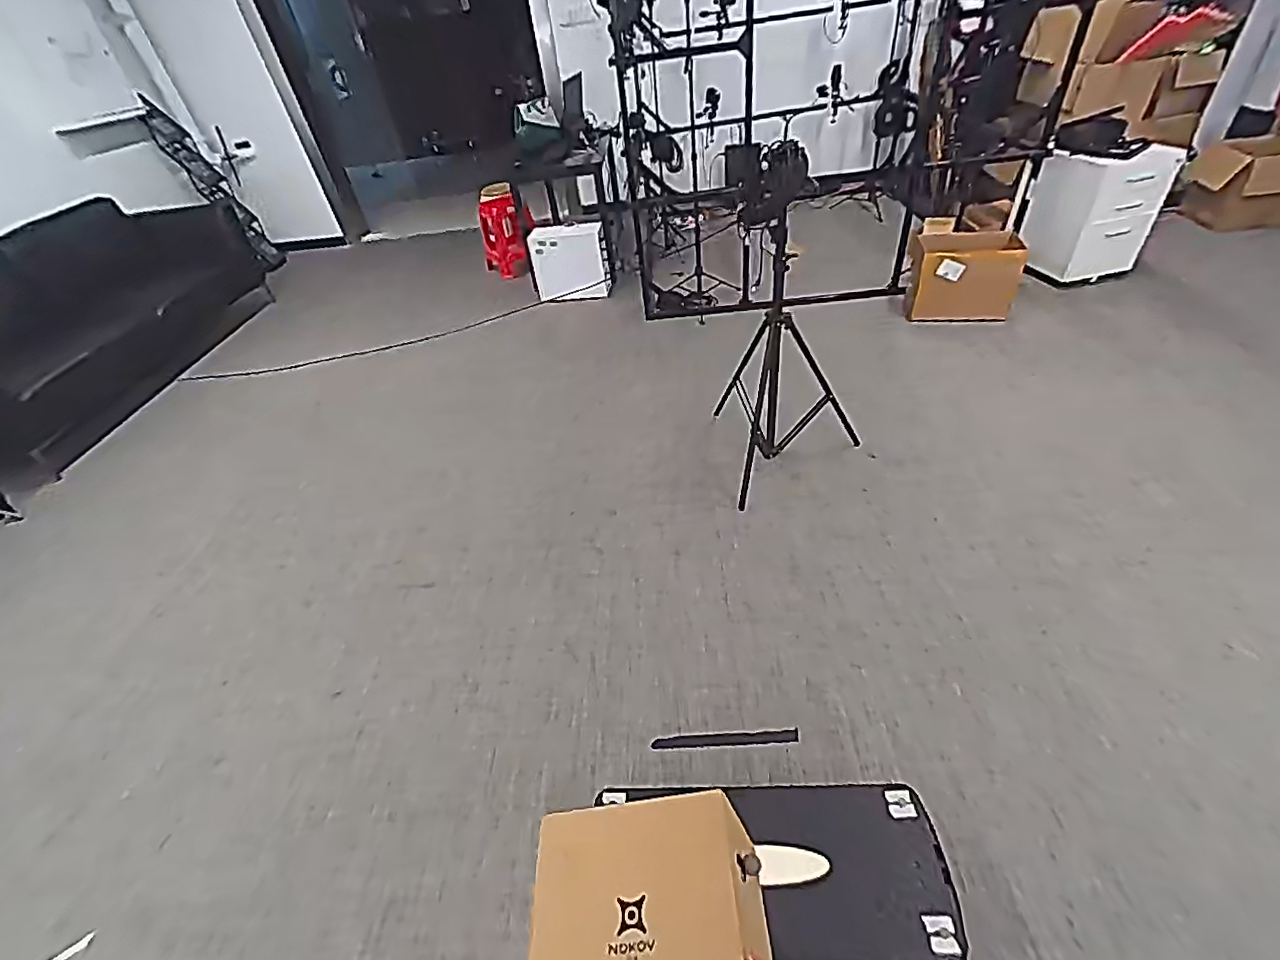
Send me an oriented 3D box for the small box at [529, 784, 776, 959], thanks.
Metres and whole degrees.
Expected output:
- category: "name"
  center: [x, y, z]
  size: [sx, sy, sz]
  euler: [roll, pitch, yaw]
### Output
- category: "small box"
  center: [0.019, 0.387, 0.452]
  size: [0.168, 0.176, 0.179]
  euler: [-15, 40, 10]
